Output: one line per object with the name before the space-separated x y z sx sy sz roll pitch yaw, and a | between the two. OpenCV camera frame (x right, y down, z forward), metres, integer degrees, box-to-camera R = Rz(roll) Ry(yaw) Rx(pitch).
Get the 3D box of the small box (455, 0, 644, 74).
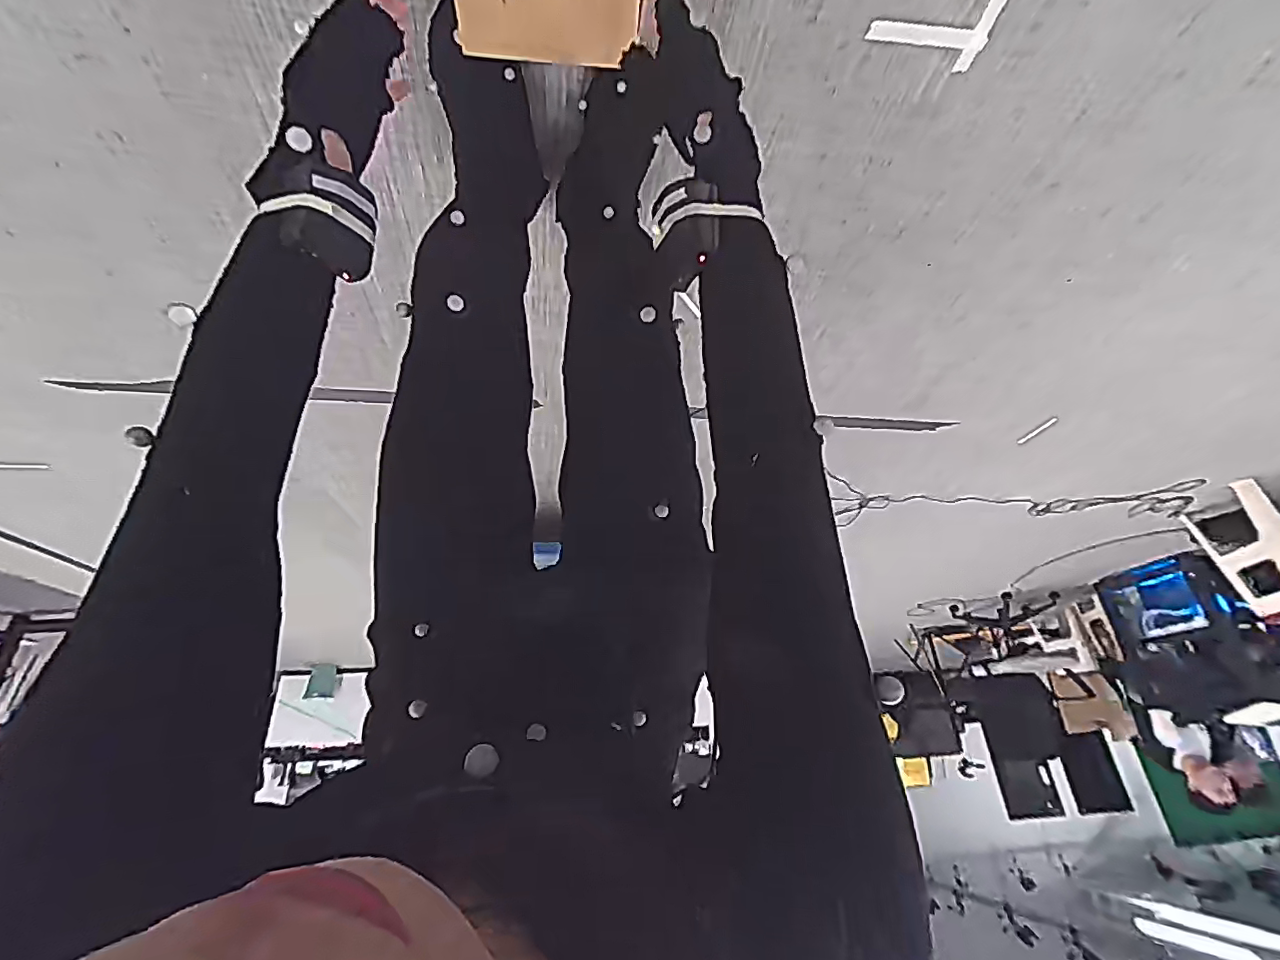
small box | -0.085 -0.528 0.514 0.179 0.176 0.168 1 152 -6
